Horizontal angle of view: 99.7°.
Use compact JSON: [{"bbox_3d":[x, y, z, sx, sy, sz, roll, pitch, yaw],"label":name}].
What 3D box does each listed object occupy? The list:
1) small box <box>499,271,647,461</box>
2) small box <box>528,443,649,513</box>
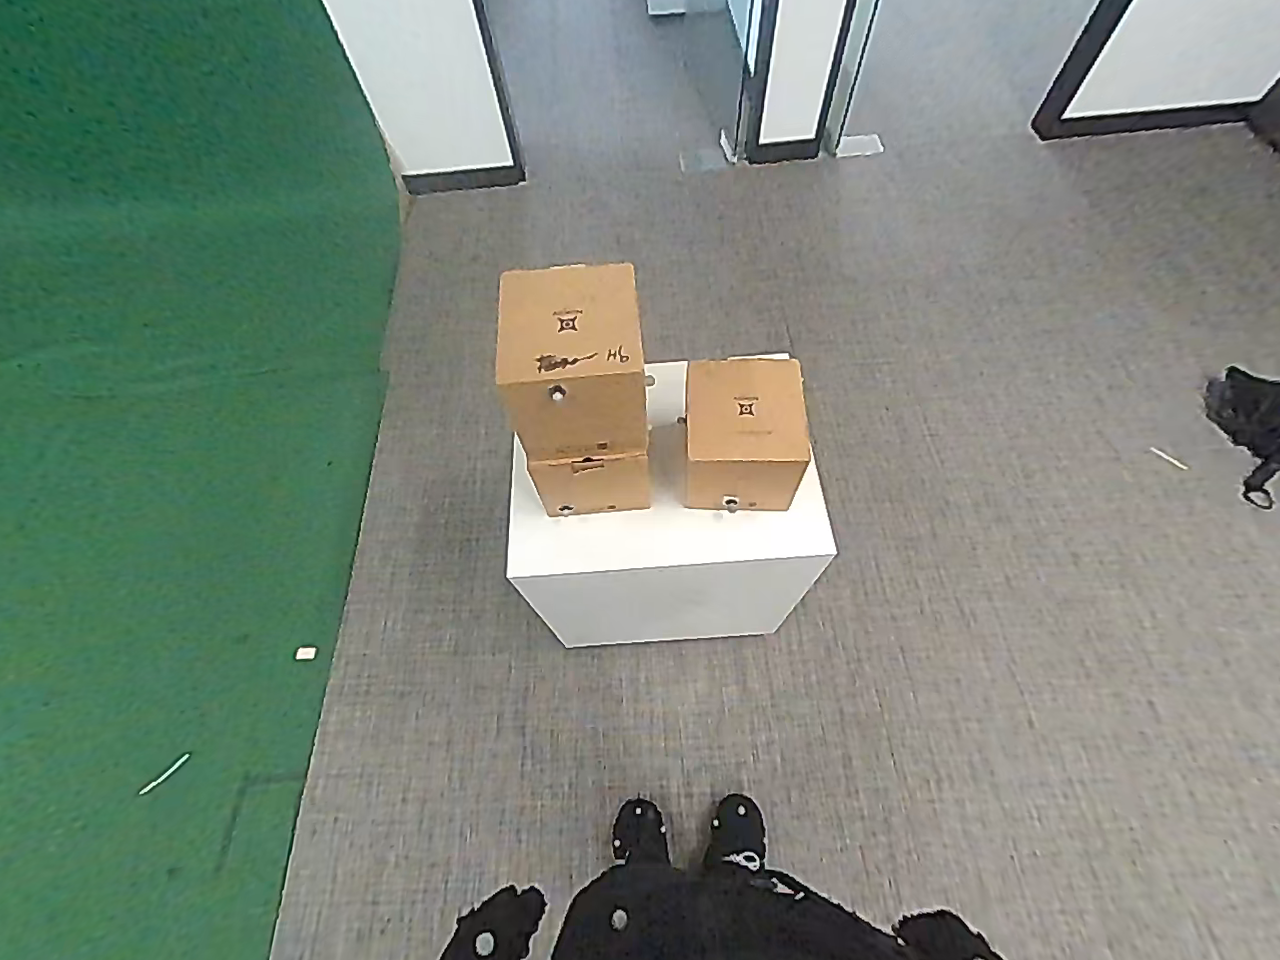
[{"bbox_3d":[-0.079,-0.145,0.712,0.168,0.176,0.179,-5,60,0],"label":"small box"},{"bbox_3d":[-0.075,-0.057,0.850,0.168,0.176,0.179,-5,60,0],"label":"small box"}]
